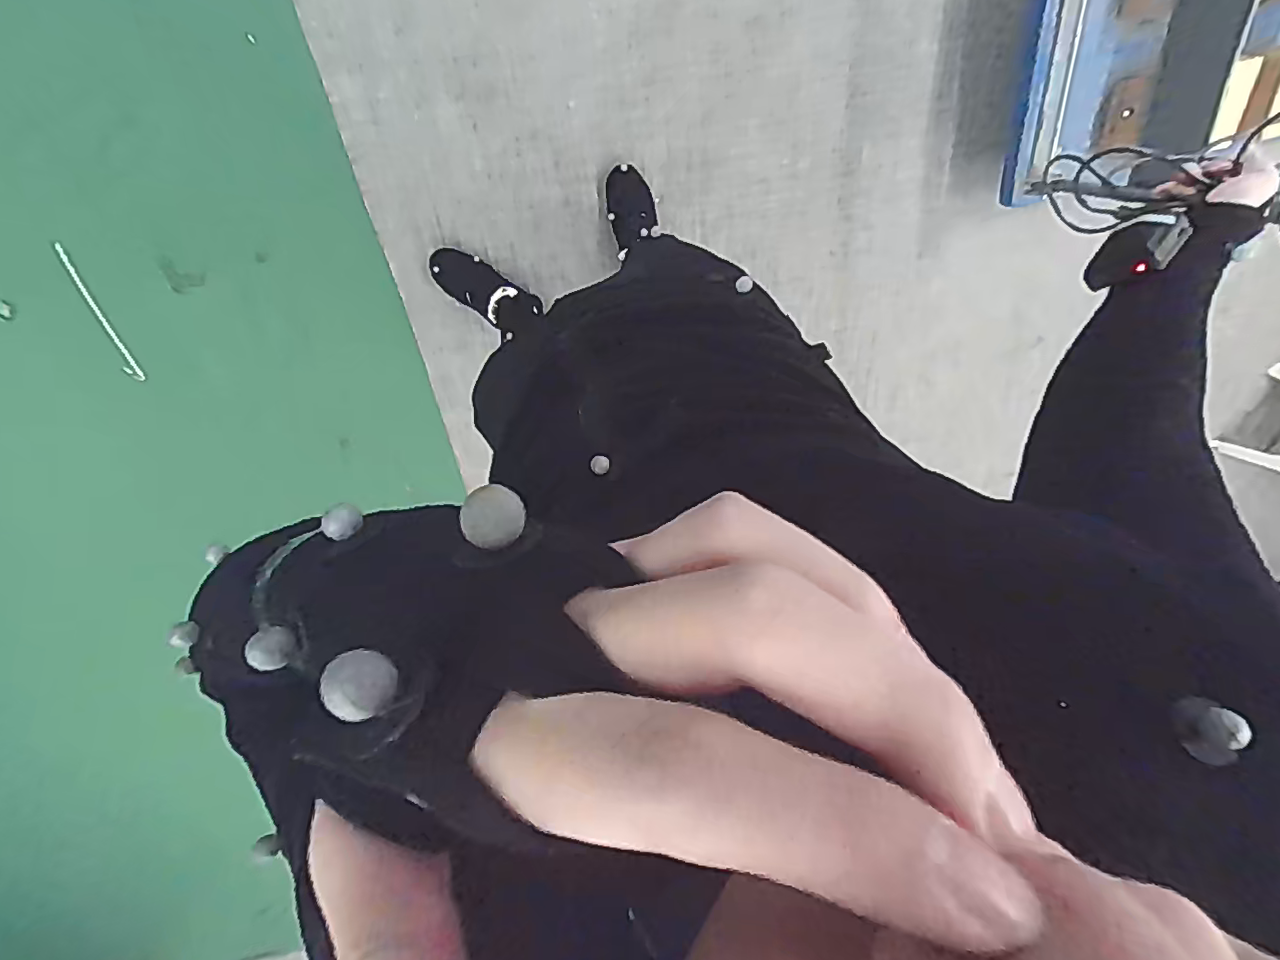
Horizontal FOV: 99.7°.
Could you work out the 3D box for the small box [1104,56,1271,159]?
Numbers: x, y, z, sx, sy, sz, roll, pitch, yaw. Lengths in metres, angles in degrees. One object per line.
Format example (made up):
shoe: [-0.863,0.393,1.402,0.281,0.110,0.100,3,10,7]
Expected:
small box: [1.223,-0.839,1.224,0.179,0.176,0.168,-13,123,-3]

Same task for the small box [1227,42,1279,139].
small box: [1.460,-0.897,1.236,0.179,0.176,0.168,-16,123,-1]
